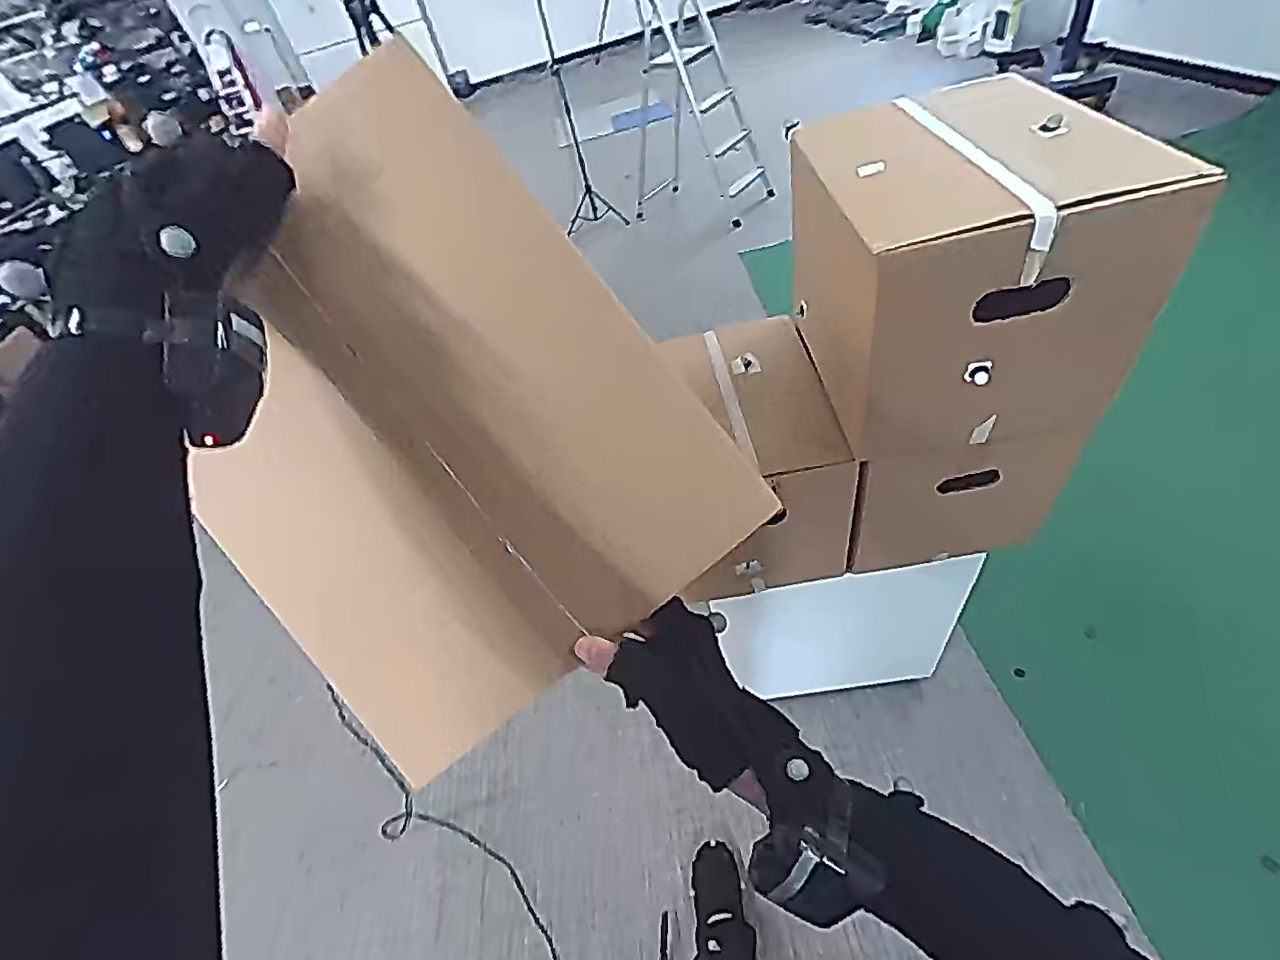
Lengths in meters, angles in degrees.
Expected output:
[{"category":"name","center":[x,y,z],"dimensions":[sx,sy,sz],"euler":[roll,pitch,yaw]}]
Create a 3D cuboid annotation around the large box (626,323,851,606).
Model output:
[{"category":"large box","center":[0.172,-0.032,1.027],"dimensions":[0.320,0.320,0.408],"euler":[-12,45,5]}]
